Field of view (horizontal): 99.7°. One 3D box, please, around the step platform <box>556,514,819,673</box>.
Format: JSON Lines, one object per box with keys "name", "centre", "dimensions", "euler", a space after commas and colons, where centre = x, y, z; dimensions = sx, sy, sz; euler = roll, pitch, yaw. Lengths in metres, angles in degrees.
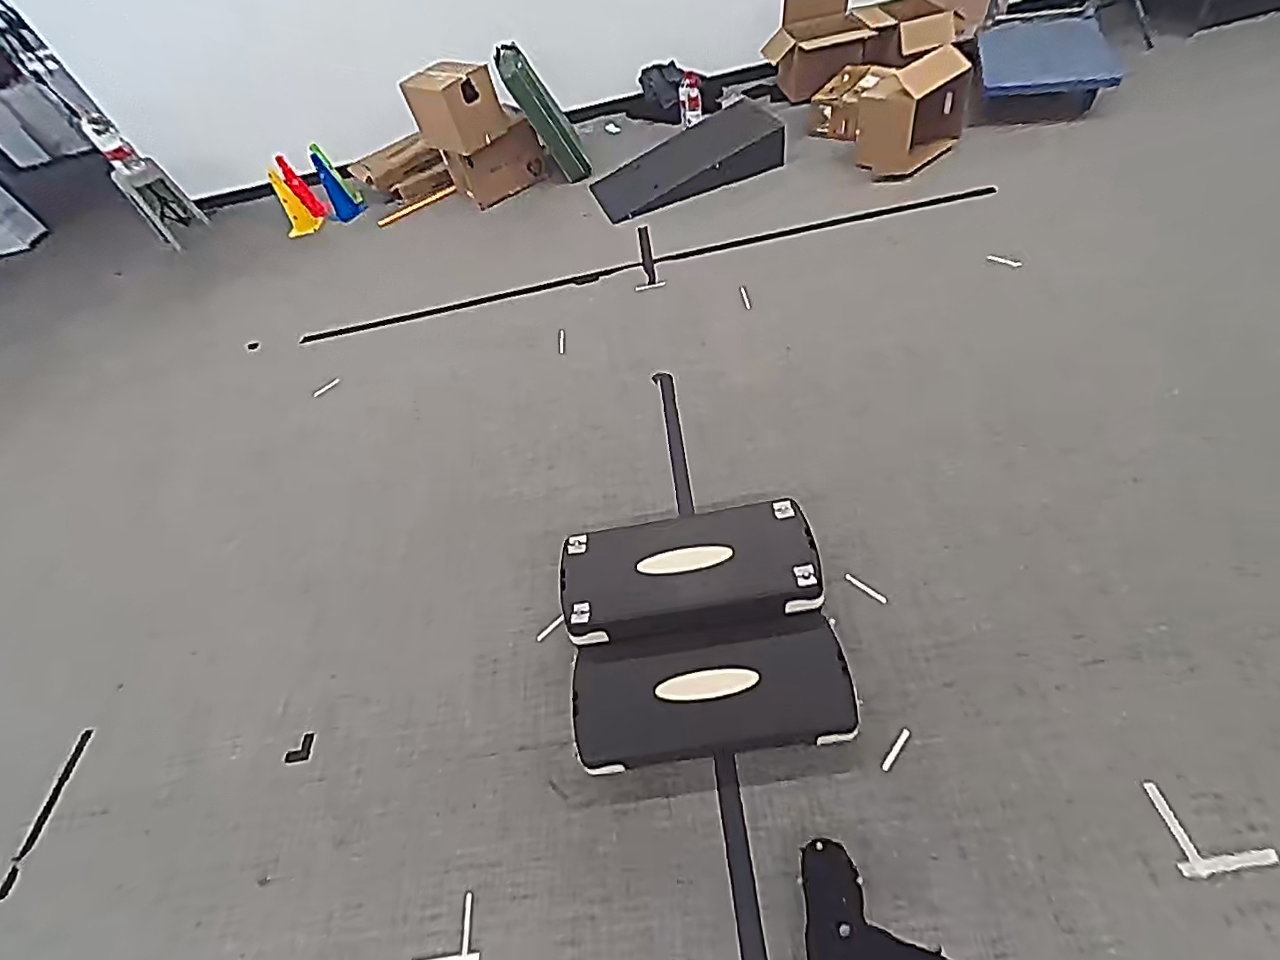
{"name": "step platform", "centre": [0.118, 0.301, 1.451], "dimensions": [0.684, 0.204, 0.286], "euler": [-11, 52, 3]}
